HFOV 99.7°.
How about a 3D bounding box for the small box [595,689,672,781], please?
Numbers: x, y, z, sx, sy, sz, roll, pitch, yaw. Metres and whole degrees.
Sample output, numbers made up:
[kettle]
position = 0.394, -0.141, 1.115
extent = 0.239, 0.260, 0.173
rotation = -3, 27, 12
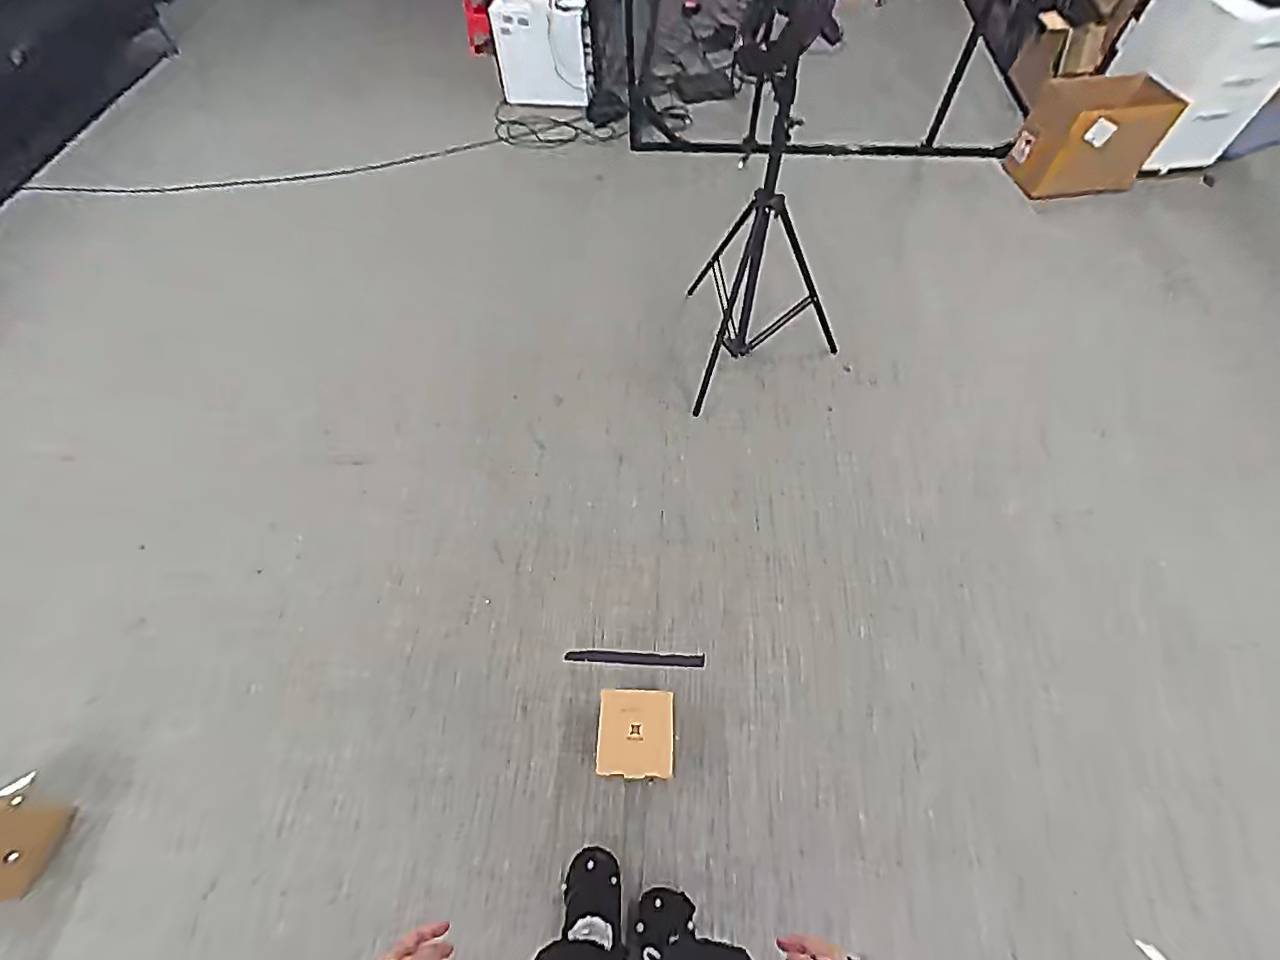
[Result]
[small box]
position = -0.009, 0.593, 1.252
extent = 0.168, 0.176, 0.179
rotation = 1, 58, 1
